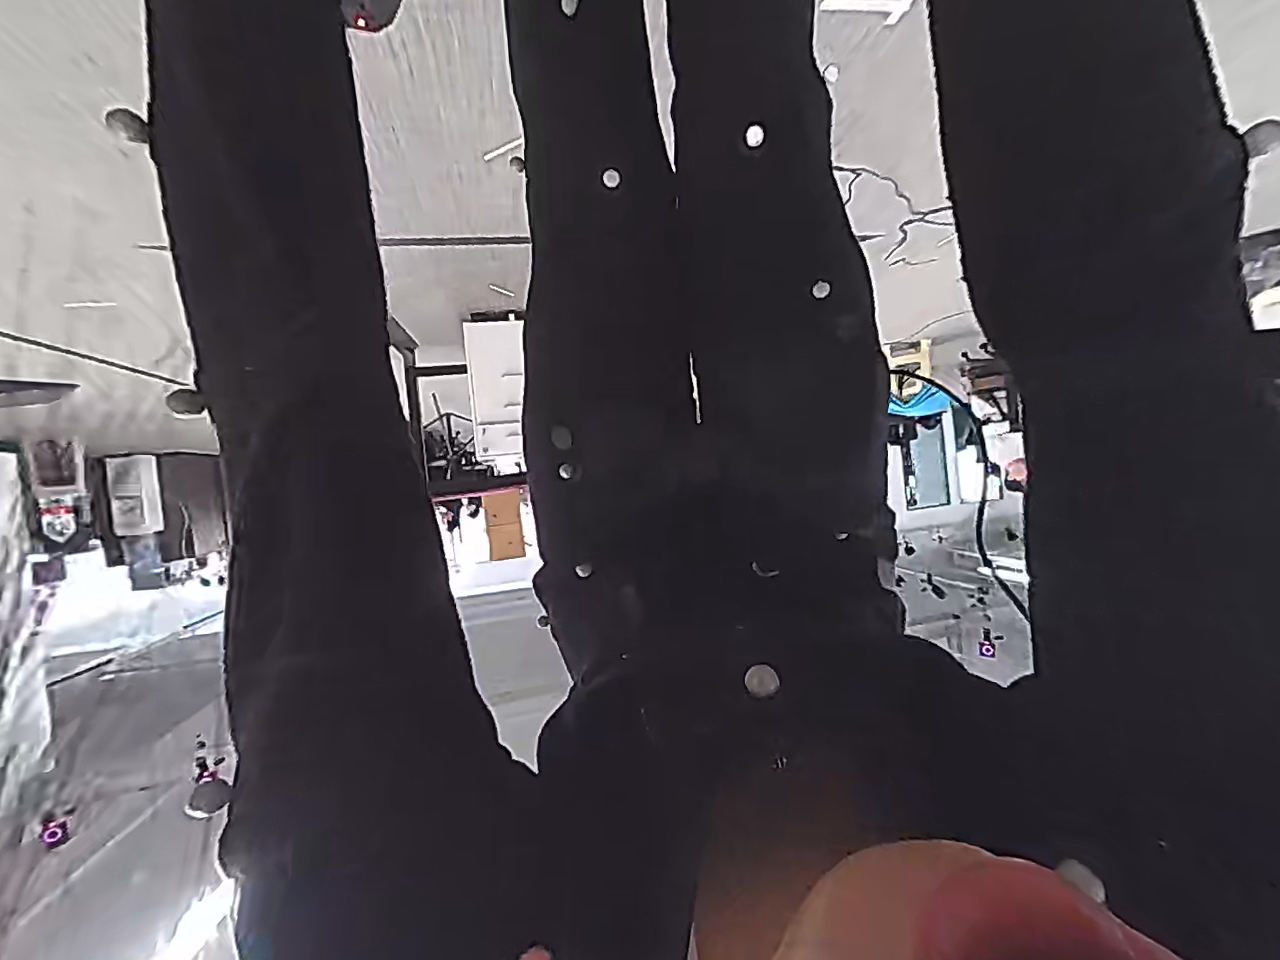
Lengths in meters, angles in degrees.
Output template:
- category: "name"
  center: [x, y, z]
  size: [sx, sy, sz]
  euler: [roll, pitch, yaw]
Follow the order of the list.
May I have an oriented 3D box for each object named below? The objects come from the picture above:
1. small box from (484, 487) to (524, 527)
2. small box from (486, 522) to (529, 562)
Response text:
- category: "small box"
  center: [-0.666, 0.130, 2.633]
  size: [0.179, 0.176, 0.168]
  euler: [-7, 180, -15]
- category: "small box"
  center: [-0.647, 0.293, 2.636]
  size: [0.179, 0.176, 0.168]
  euler: [-7, 180, -17]
